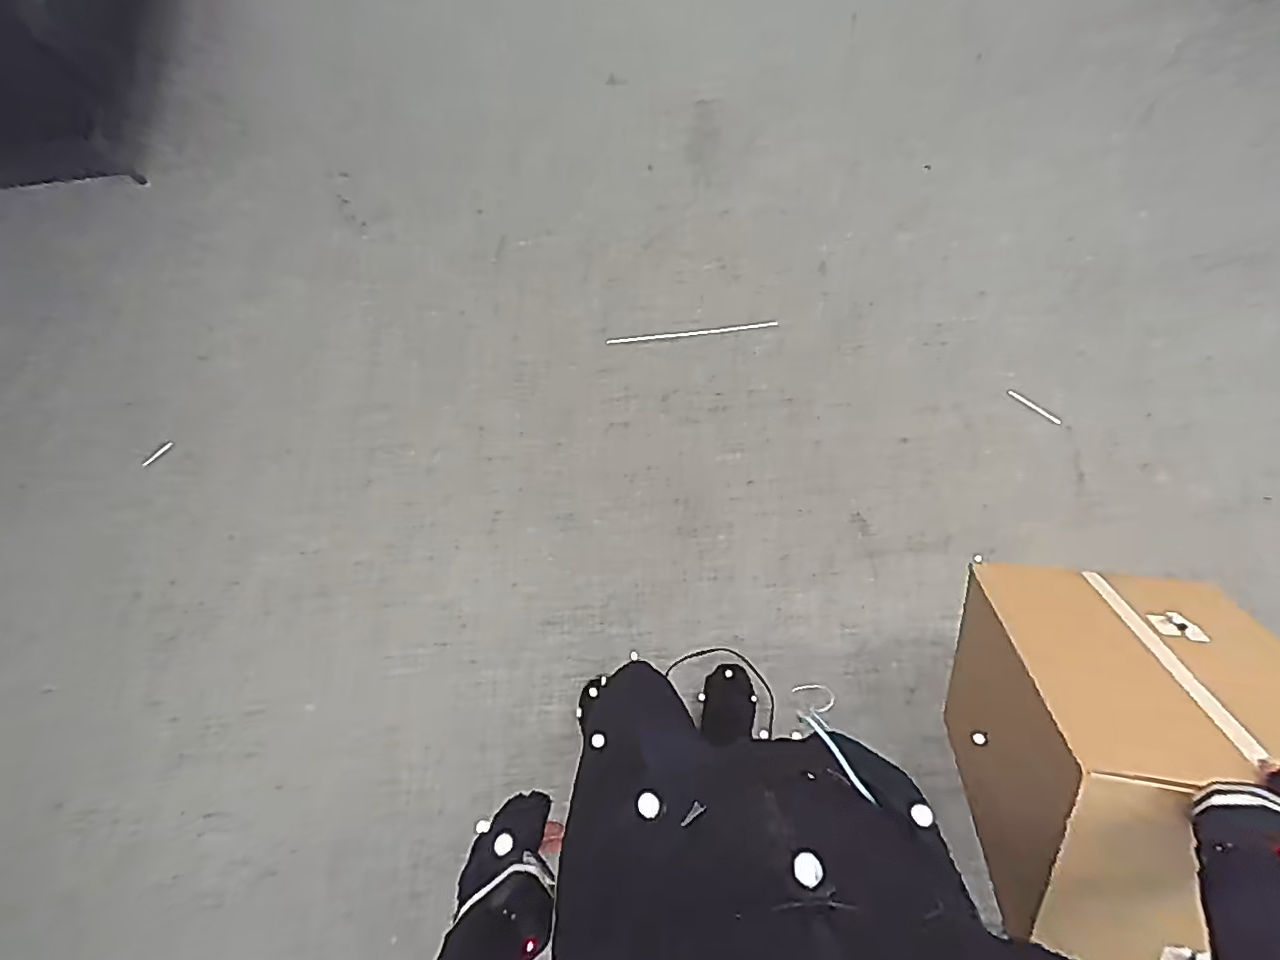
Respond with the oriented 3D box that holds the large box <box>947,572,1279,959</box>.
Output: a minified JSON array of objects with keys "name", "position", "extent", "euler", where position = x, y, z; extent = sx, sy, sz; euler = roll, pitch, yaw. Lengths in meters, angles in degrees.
[{"name":"large box","position":[0.631,0.364,0.702],"extent":[0.320,0.408,0.320],"euler":[4,111,16]}]
